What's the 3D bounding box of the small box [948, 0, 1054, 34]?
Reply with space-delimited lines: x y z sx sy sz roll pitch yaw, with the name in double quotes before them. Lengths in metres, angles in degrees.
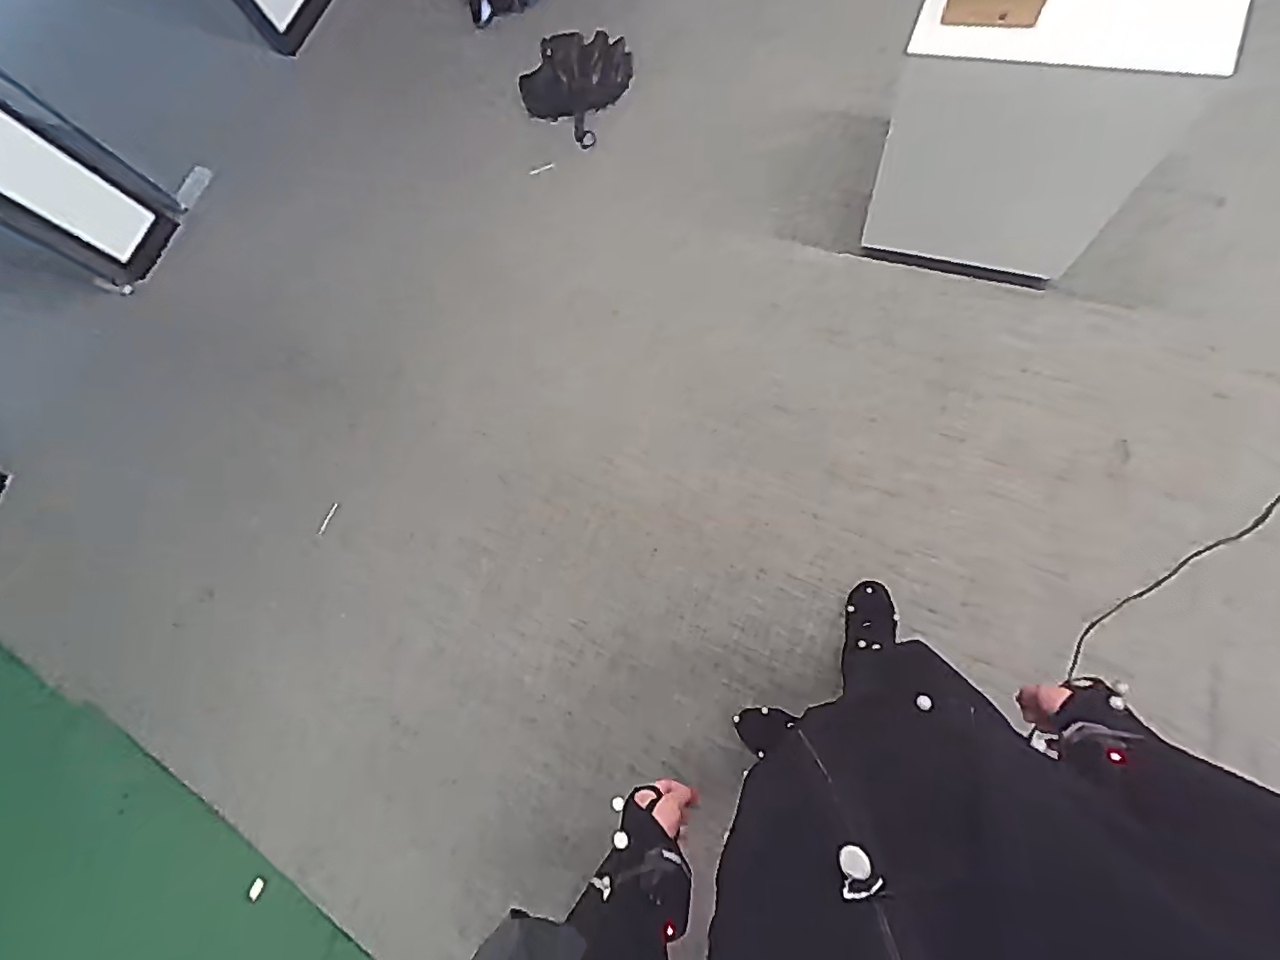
"small box" 0.664 -0.933 0.943 0.168 0.176 0.179 17 79 17
